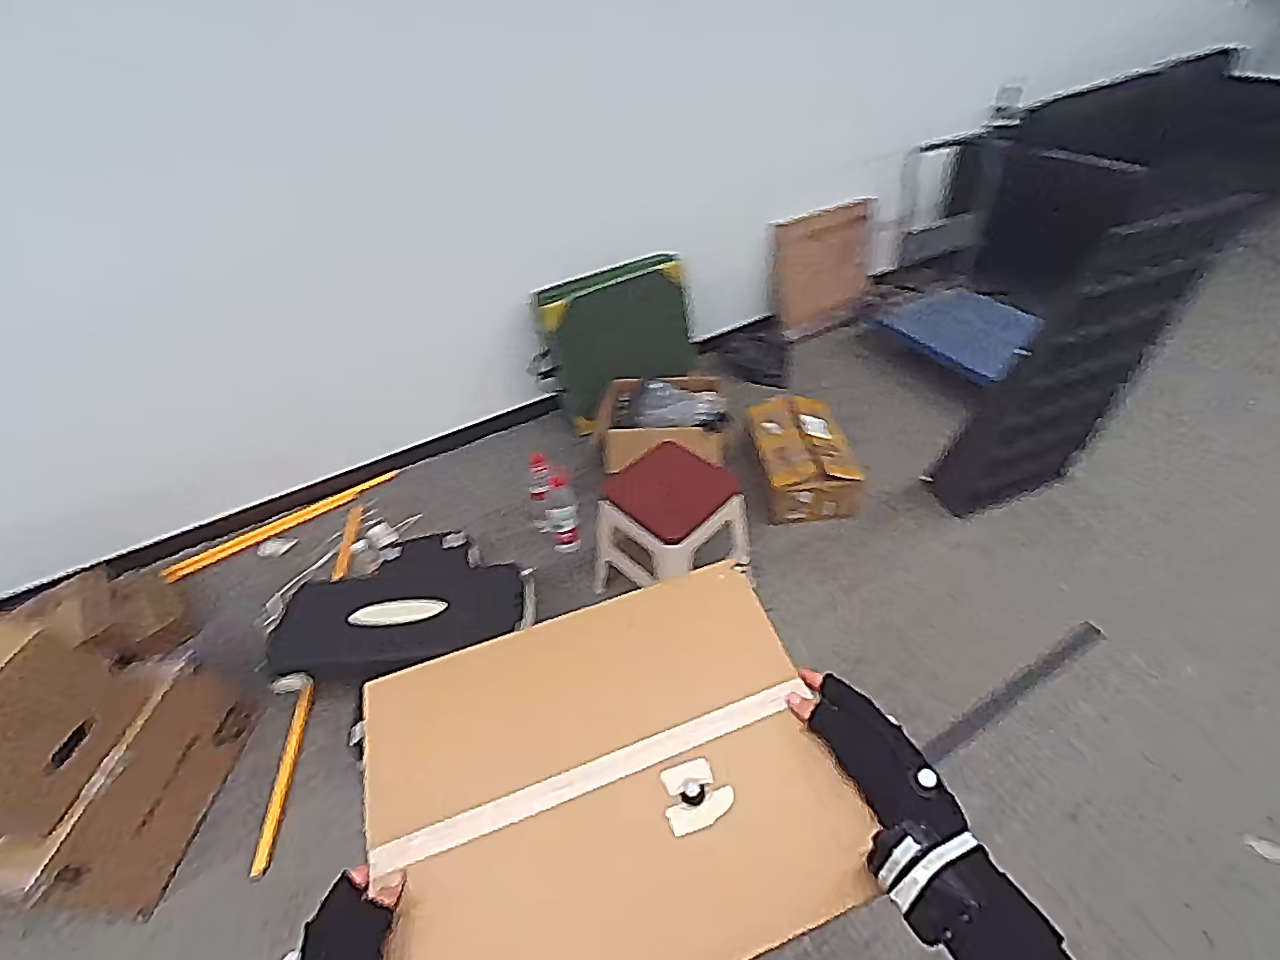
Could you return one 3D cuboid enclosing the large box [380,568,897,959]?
[{"bbox_3d":[-0.021,0.360,0.601,0.408,0.320,0.320,-16,52,-10],"label":"large box"}]
